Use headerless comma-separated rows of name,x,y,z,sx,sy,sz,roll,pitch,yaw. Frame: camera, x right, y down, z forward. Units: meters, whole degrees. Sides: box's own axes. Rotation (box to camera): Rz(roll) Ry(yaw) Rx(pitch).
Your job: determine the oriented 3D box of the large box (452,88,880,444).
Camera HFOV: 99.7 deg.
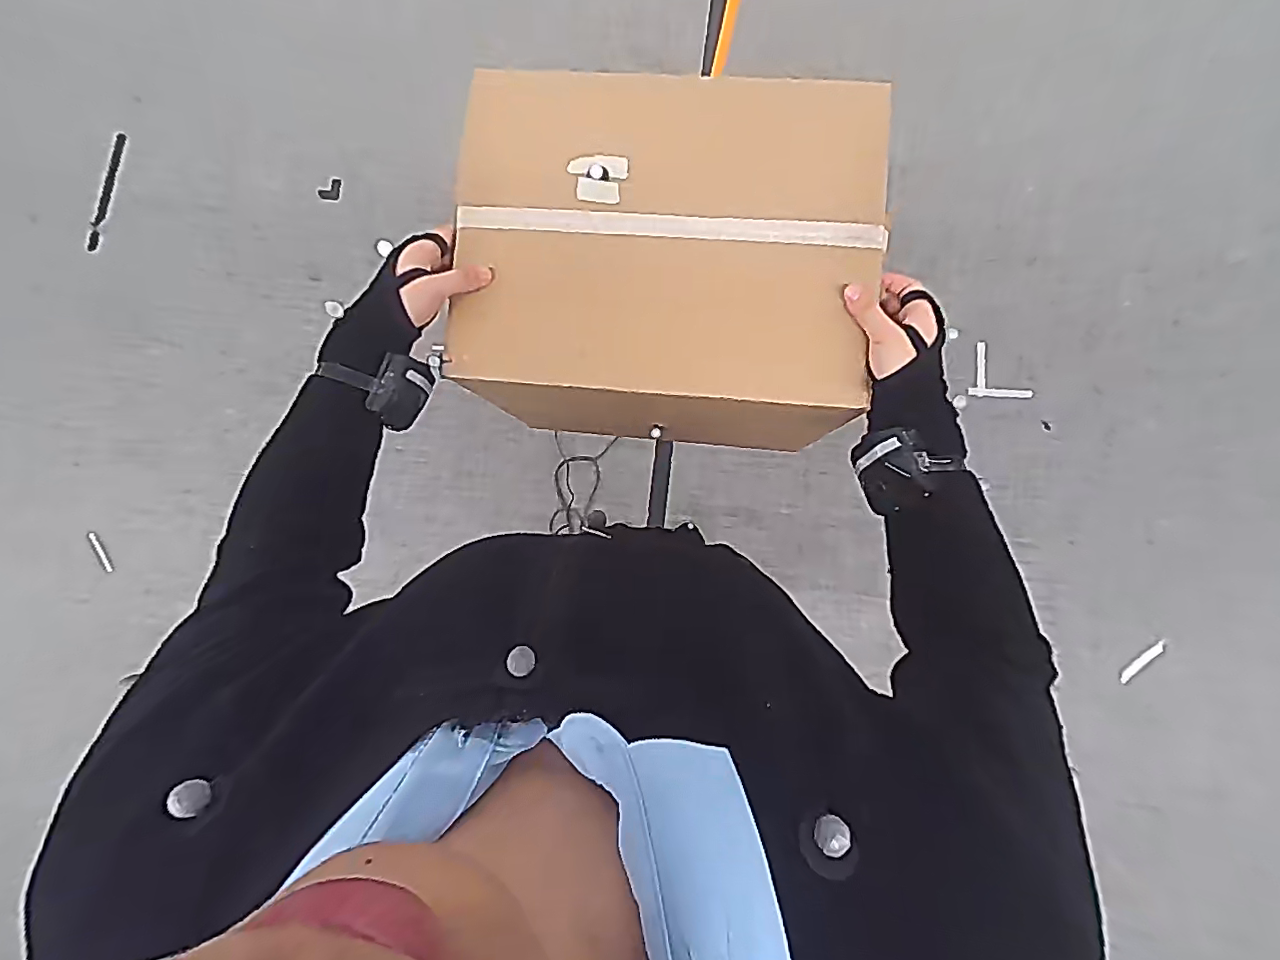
large box,0.038,-0.225,0.671,0.408,0.320,0.320,5,85,6
